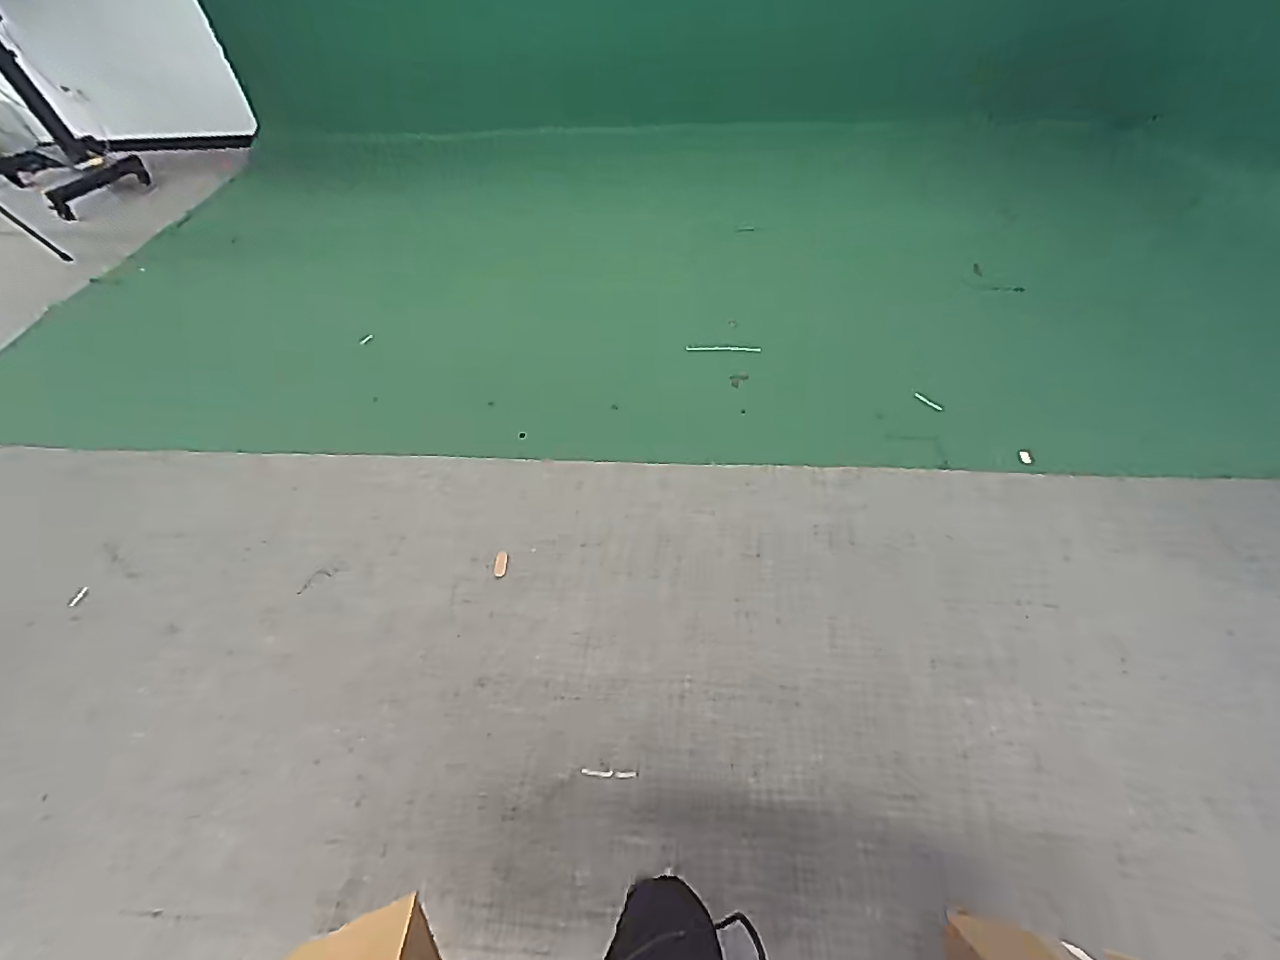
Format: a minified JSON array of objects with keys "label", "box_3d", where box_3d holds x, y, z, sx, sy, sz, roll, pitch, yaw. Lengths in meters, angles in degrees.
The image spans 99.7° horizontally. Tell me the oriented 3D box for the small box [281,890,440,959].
[{"label":"small box","box_3d":[-0.321,0.635,0.611,0.168,0.179,0.176,-20,94,-13]}]
